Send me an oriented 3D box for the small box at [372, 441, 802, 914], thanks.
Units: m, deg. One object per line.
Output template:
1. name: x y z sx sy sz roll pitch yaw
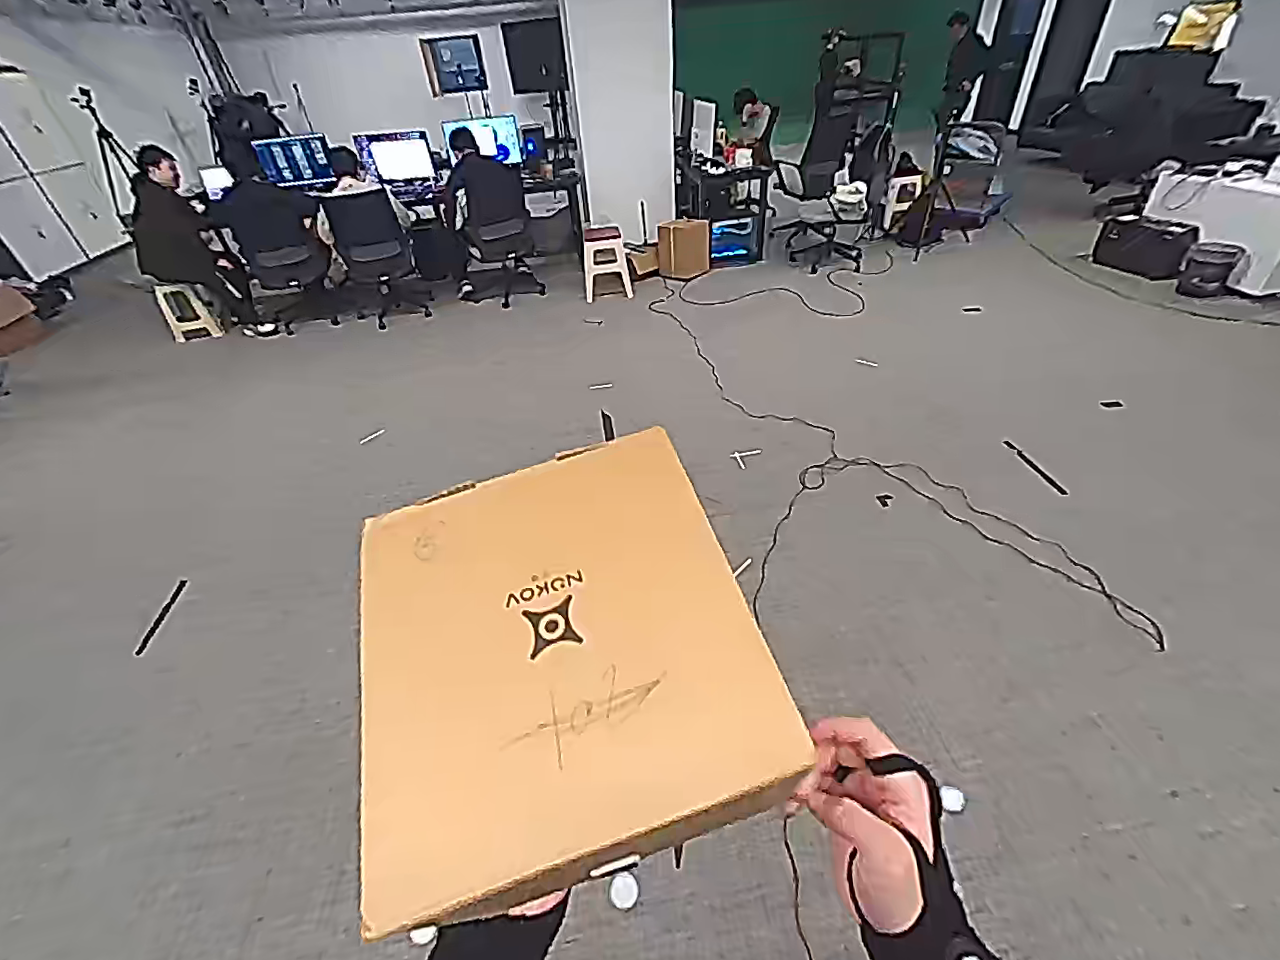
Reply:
1. small box: -0.032 0.113 0.312 0.168 0.176 0.179 -19 55 -6
